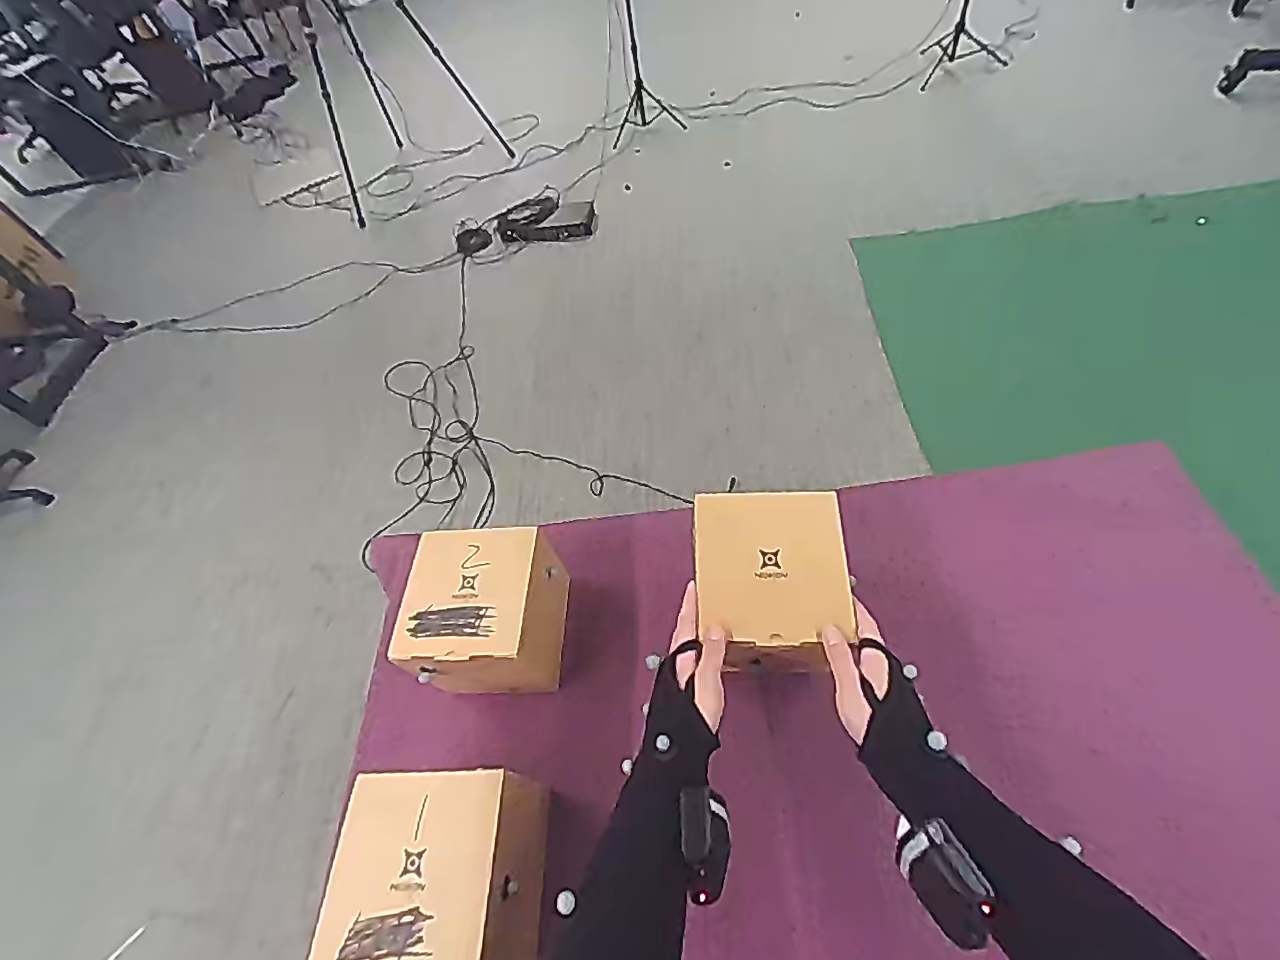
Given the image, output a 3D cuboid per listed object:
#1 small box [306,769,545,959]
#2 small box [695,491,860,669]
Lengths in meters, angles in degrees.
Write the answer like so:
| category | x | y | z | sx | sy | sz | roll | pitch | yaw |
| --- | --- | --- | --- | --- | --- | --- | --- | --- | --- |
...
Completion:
| category | x | y | z | sx | sy | sz | roll | pitch | yaw |
| --- | --- | --- | --- | --- | --- | --- | --- | --- | --- |
| small box | -0.207 | 0.416 | 0.575 | 0.168 | 0.176 | 0.179 | -5 | 55 | 6 |
| small box | 0.153 | 0.127 | 0.666 | 0.168 | 0.176 | 0.179 | -1 | 63 | 5 |
